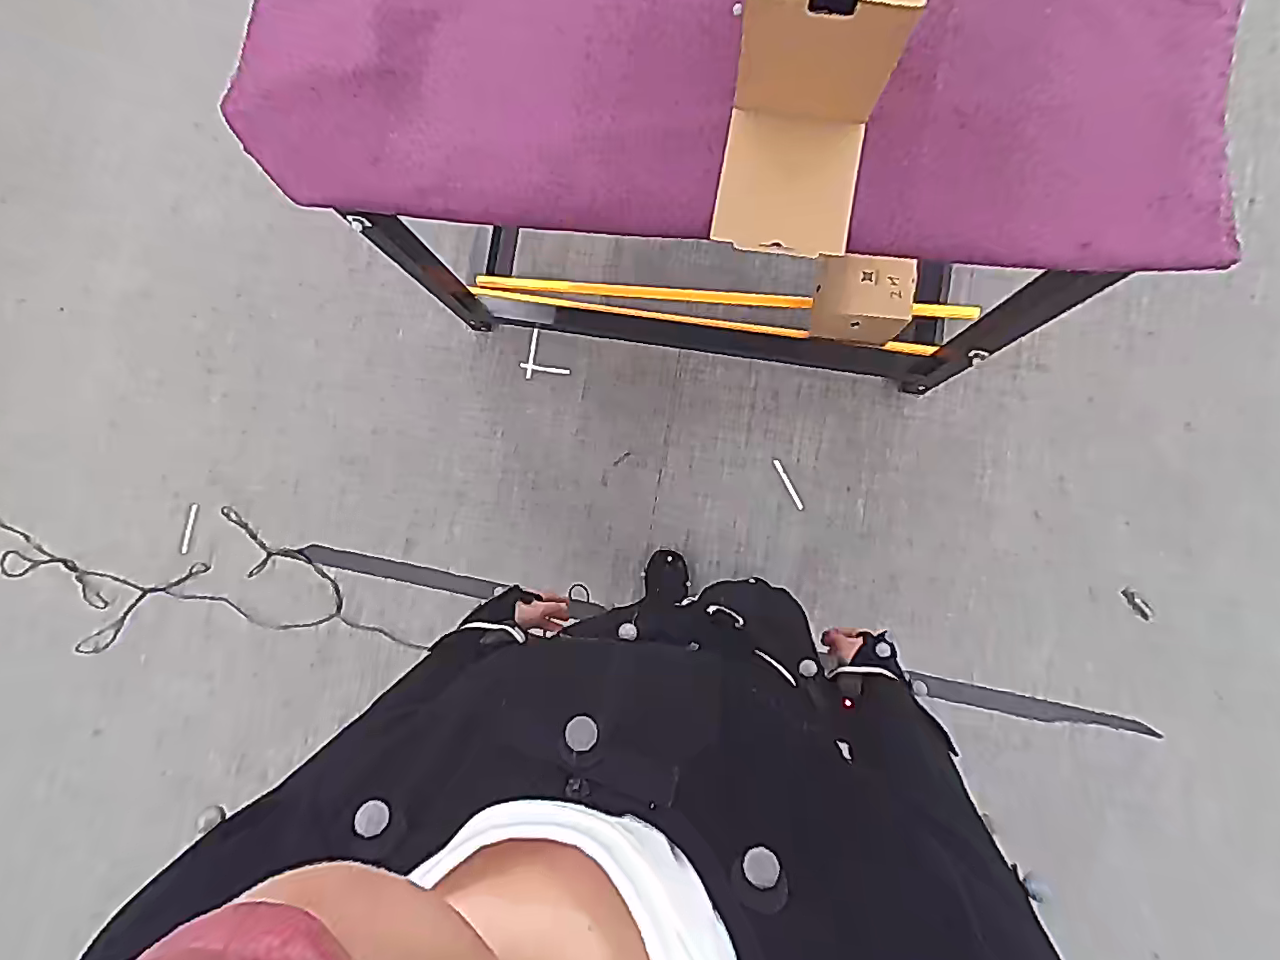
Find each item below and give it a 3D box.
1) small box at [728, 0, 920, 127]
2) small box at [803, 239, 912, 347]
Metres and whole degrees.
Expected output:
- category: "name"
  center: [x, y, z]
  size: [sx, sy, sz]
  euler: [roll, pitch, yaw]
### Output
- category: "small box"
  center: [0.195, -0.525, 0.581]
  size: [0.168, 0.179, 0.176]
  euler: [10, 94, 5]
- category: "small box"
  center: [0.465, -0.402, 1.183]
  size: [0.179, 0.176, 0.168]
  euler: [8, 87, 6]
